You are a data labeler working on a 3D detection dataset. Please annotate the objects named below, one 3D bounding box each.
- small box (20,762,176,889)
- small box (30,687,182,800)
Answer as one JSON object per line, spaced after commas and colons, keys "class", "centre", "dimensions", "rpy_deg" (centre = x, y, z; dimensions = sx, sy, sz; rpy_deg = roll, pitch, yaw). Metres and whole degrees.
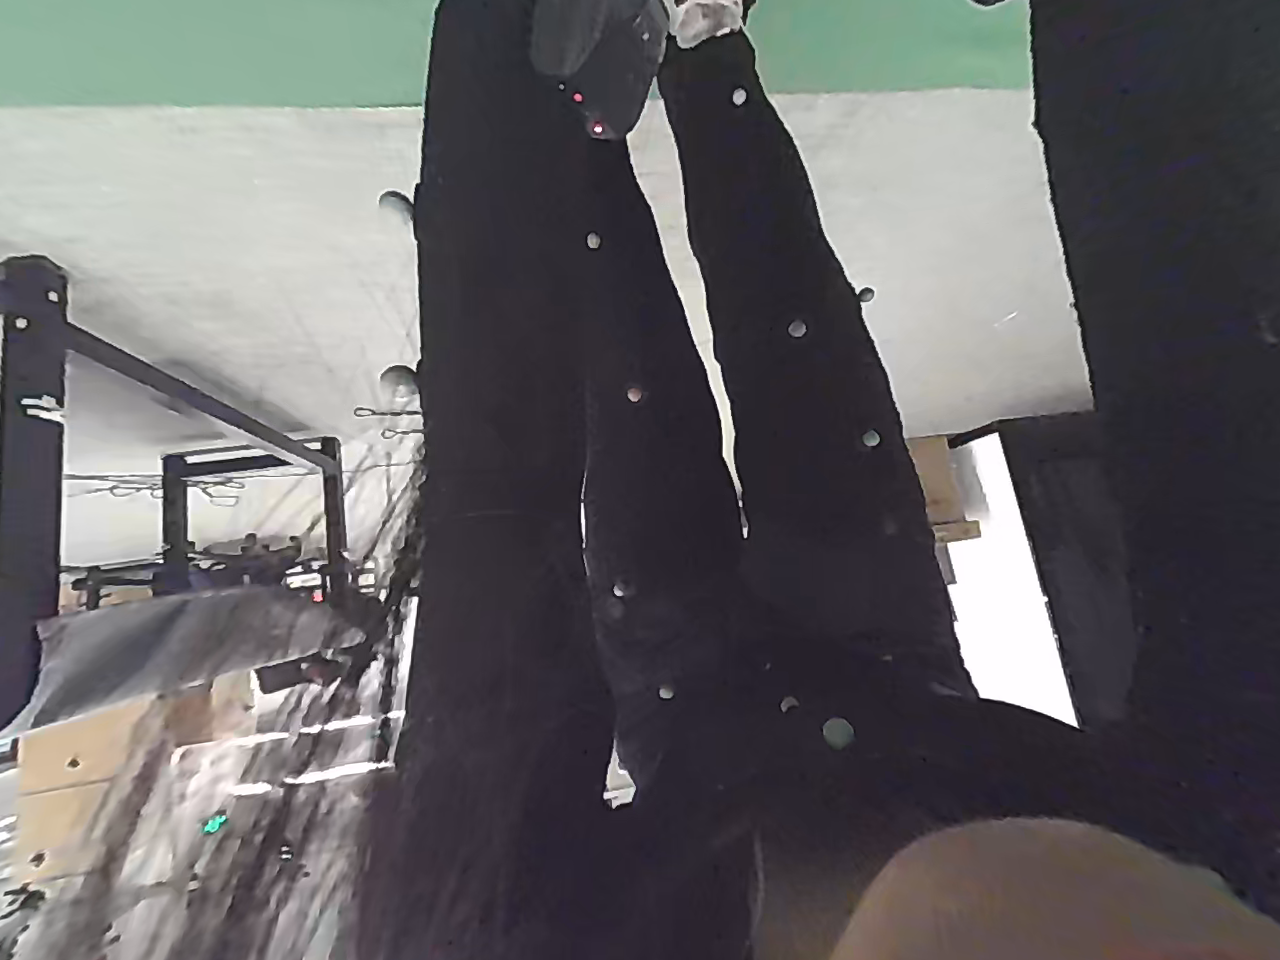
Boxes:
{"class": "small box", "centre": [-1.131, 0.717, 1.145], "dimensions": [0.179, 0.176, 0.168], "rpy_deg": [-8, 170, -5]}
{"class": "small box", "centre": [-1.140, 0.554, 1.164], "dimensions": [0.179, 0.176, 0.168], "rpy_deg": [-7, 169, -7]}
